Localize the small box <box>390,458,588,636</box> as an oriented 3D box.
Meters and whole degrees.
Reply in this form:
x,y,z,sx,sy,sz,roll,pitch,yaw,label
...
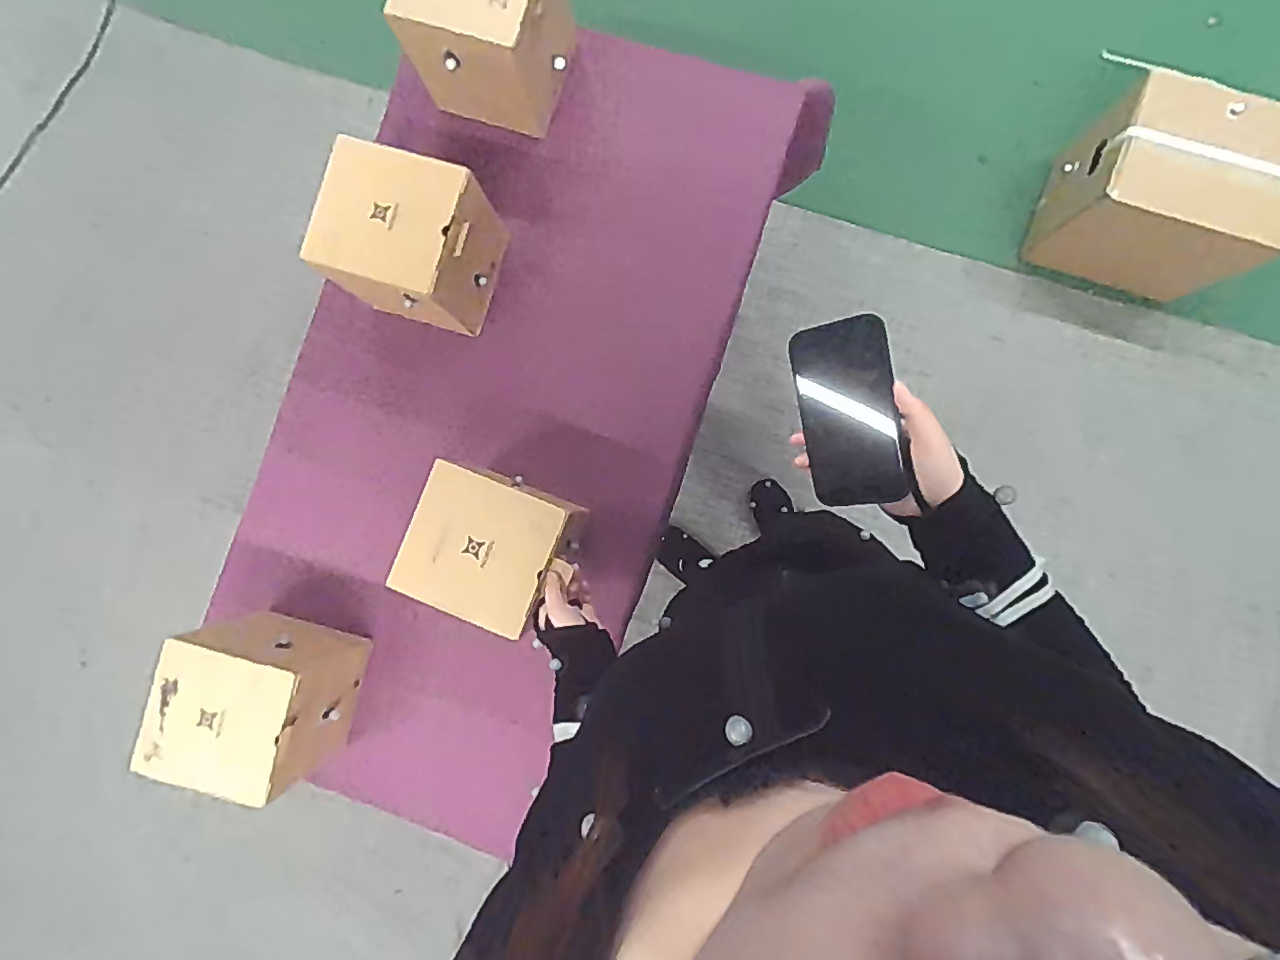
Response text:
x,y,z,sx,sy,sz,roll,pitch,yaw,label
-0.184,0.081,0.717,0.179,0.176,0.168,21,88,5,small box

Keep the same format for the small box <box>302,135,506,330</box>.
x,y,z,sx,sy,sz,roll,pitch,yaw,label
-0.309,-0.324,0.743,0.179,0.176,0.168,16,89,4,small box

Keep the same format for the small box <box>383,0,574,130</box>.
x,y,z,sx,sy,sz,roll,pitch,yaw,label
-0.208,-0.626,0.744,0.179,0.176,0.168,19,90,4,small box

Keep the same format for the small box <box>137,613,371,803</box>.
x,y,z,sx,sy,sz,roll,pitch,yaw,label
-0.498,0.289,0.727,0.179,0.176,0.168,14,88,3,small box
